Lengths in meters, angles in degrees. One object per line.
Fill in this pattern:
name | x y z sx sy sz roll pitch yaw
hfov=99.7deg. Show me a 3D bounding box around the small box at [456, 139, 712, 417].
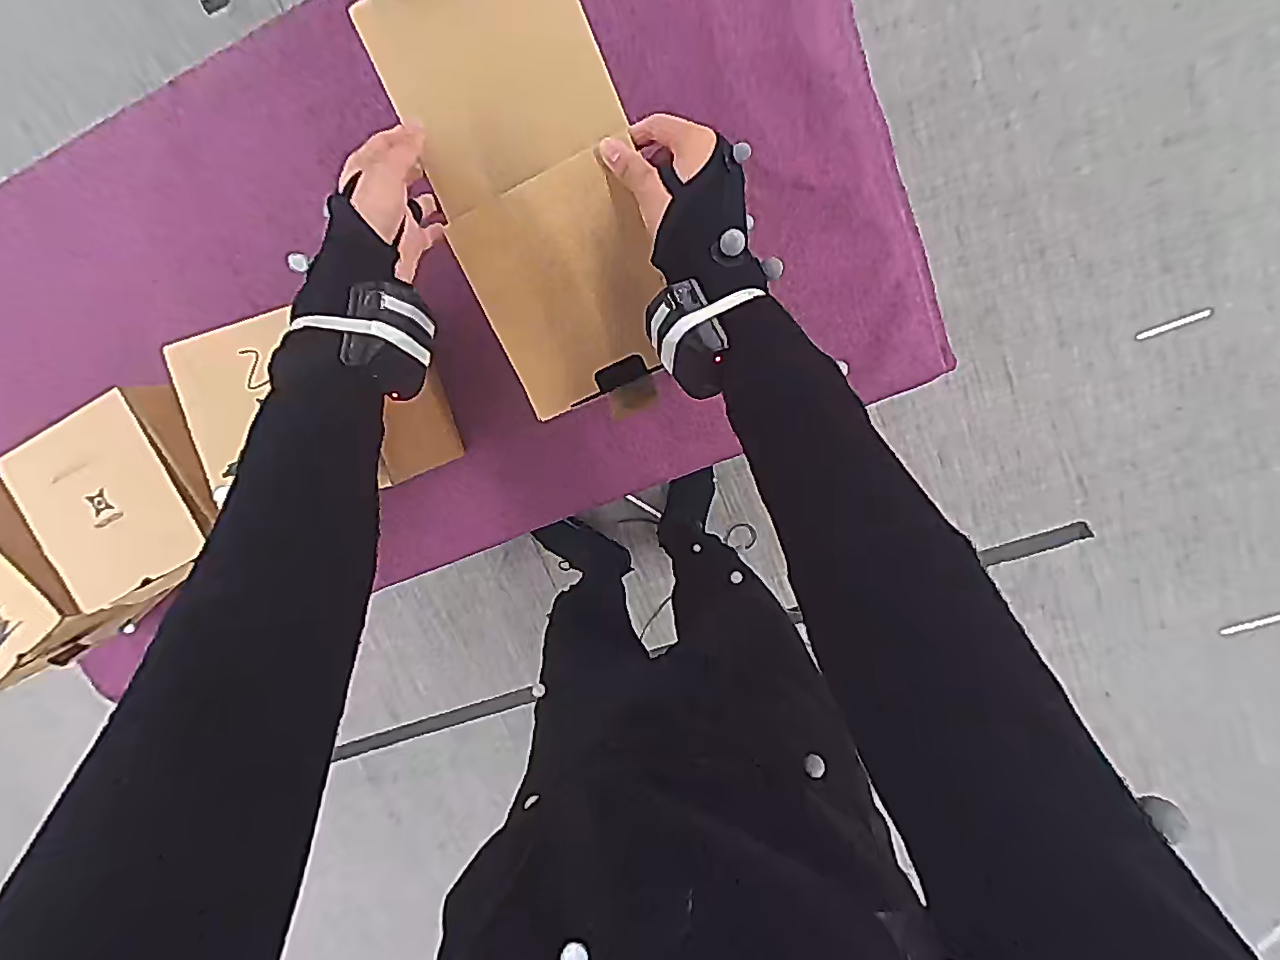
small box | -0.039 -0.176 0.521 0.168 0.176 0.179 -21 100 10
